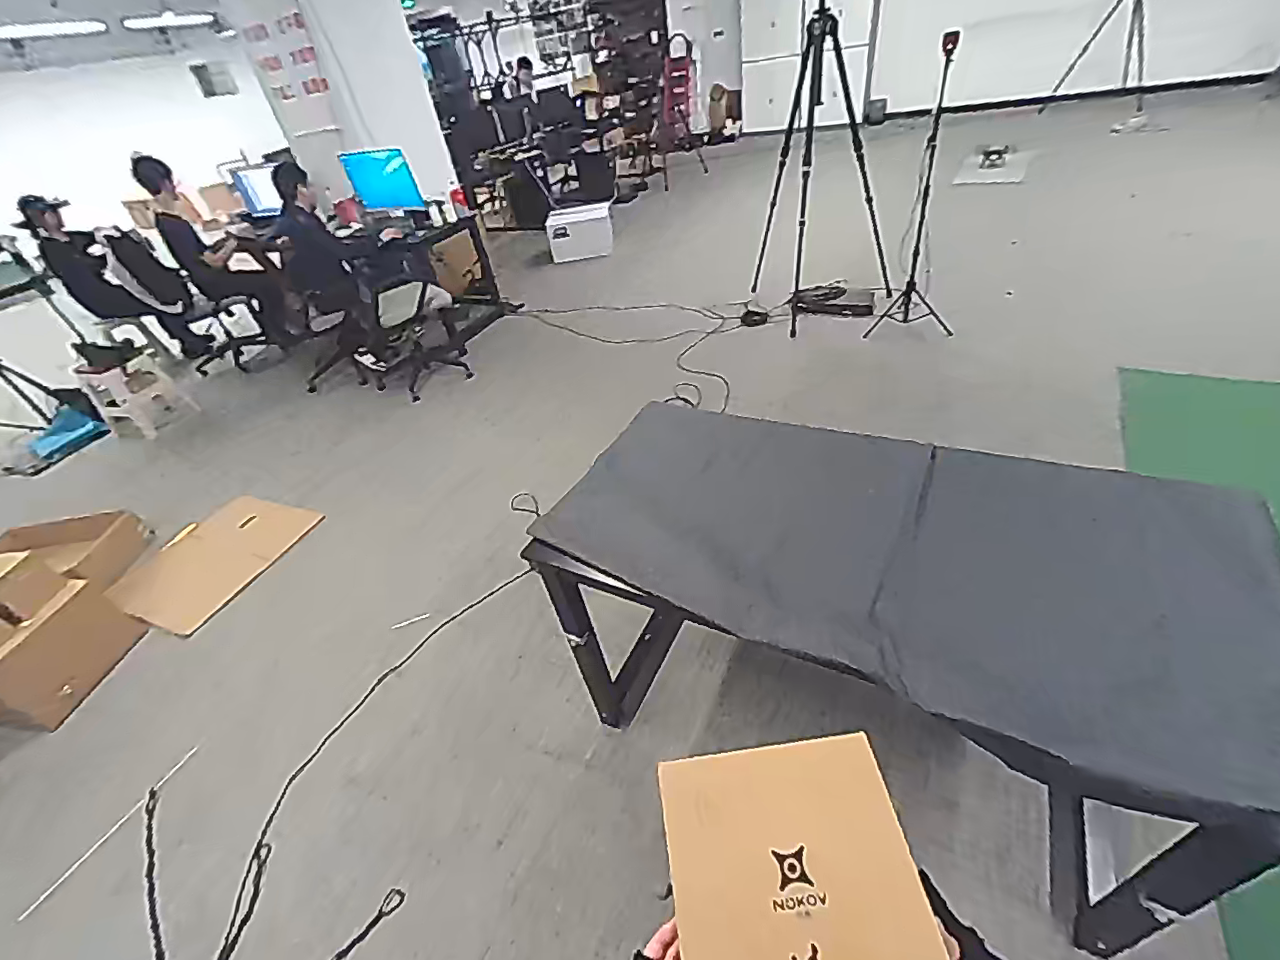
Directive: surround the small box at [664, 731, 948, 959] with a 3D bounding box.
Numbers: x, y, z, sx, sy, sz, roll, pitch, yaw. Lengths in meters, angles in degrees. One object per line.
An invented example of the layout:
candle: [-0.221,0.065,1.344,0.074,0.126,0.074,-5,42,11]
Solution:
small box: [0.111,0.323,0.424,0.168,0.176,0.179,-8,47,1]
